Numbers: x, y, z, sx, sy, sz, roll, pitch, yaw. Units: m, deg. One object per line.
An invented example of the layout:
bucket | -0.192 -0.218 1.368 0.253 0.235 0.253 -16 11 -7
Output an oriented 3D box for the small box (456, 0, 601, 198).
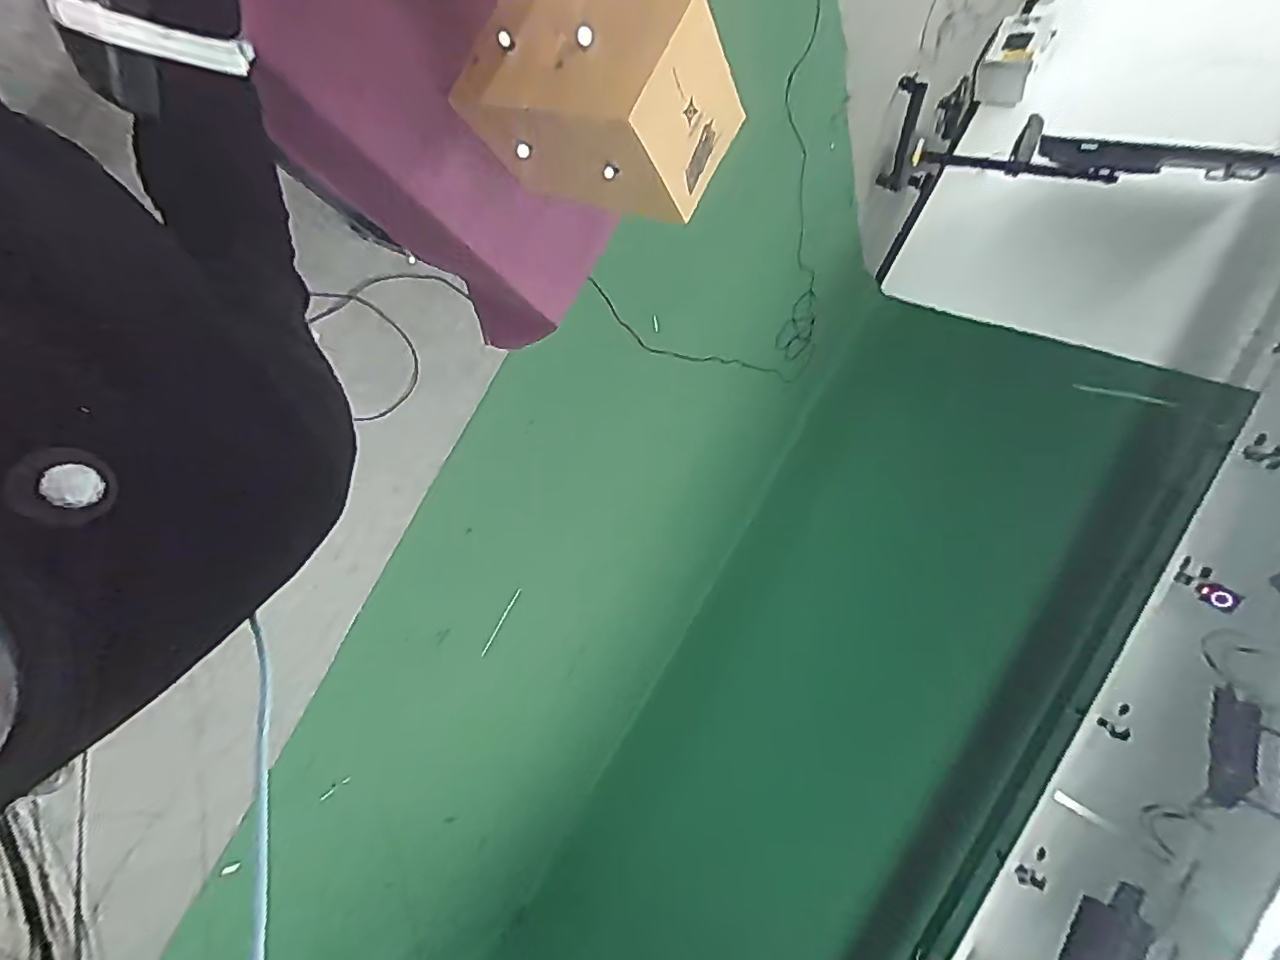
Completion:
small box | -0.123 -0.534 0.763 0.179 0.176 0.168 26 92 -58

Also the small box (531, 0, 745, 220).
small box | 0.001 -0.465 0.679 0.168 0.176 0.179 -63 149 0
